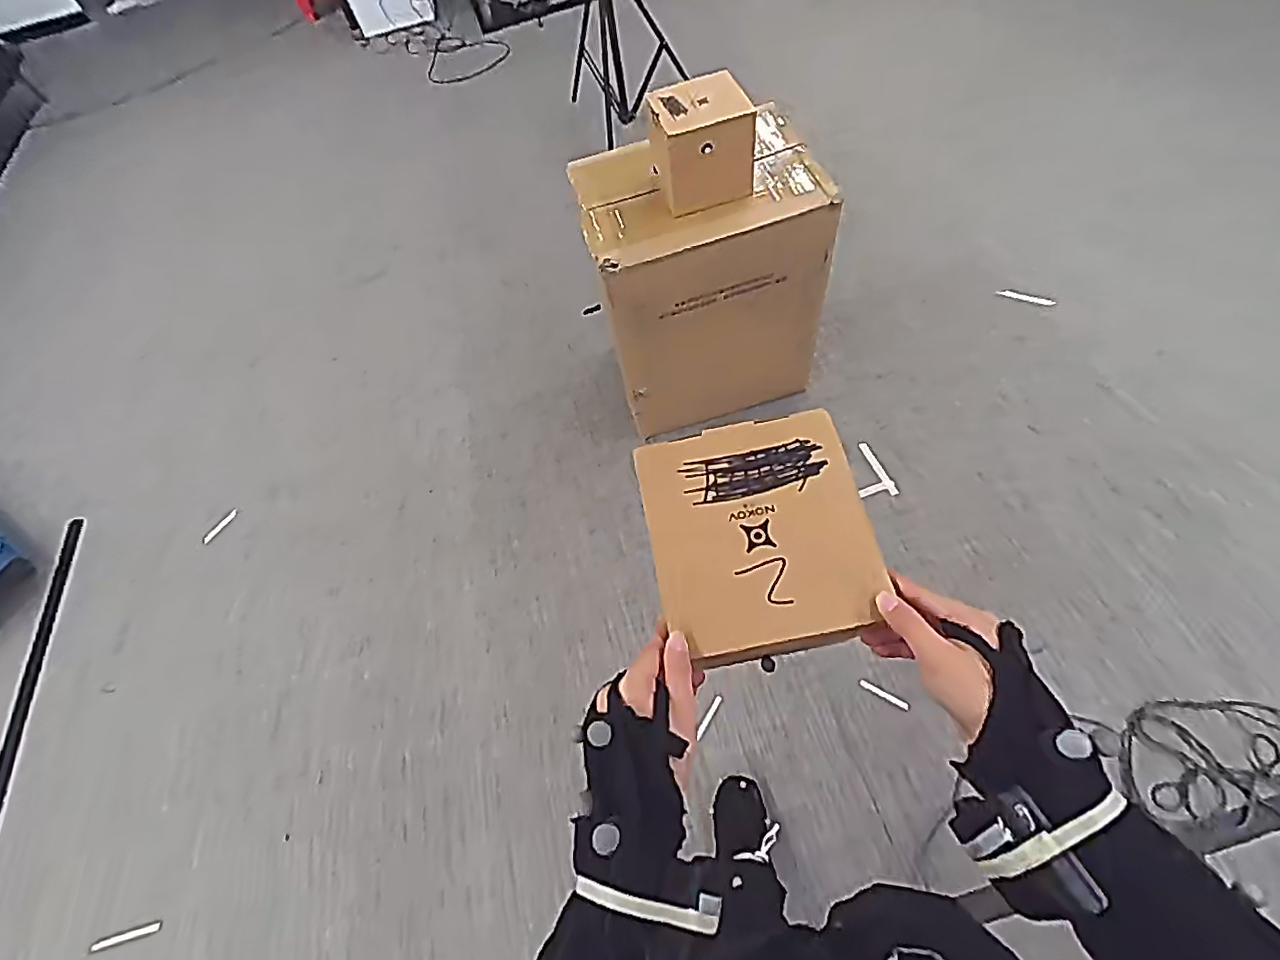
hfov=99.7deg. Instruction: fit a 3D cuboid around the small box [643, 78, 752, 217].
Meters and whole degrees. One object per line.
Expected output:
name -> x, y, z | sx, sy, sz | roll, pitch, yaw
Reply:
small box -> 0.119, -0.673, 1.108 | 0.179, 0.176, 0.168 | -17, 60, -1
